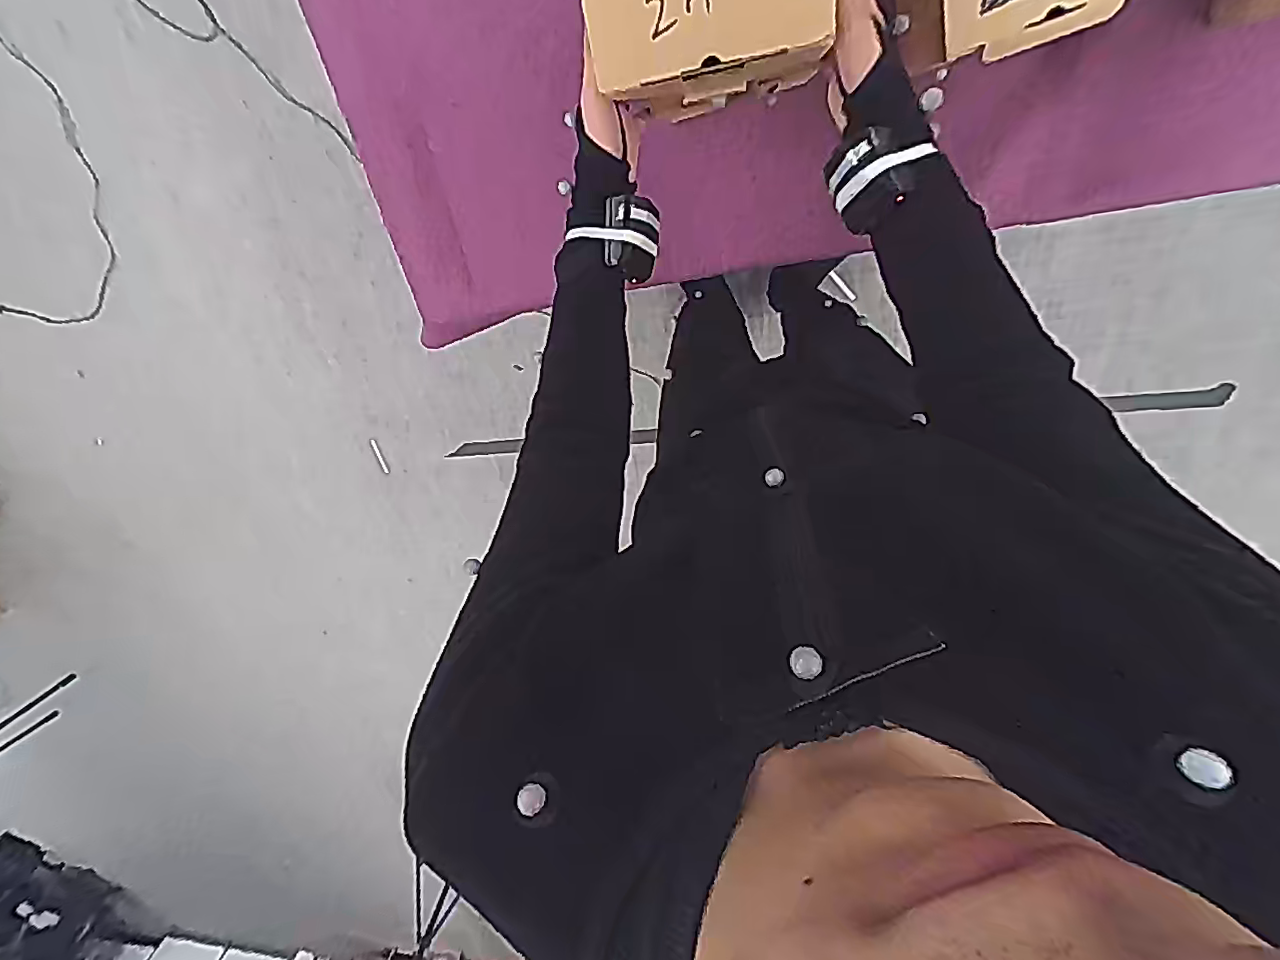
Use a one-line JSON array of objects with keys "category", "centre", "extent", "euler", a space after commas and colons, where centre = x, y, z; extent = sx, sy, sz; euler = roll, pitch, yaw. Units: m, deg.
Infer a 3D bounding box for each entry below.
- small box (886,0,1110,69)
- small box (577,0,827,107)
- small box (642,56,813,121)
[{"category": "small box", "centre": [0.323, -0.497, 0.480], "extent": [0.168, 0.176, 0.179], "euler": [-11, 118, 18]}, {"category": "small box", "centre": [0.044, -0.401, 0.401], "extent": [0.168, 0.176, 0.179], "euler": [-3, 120, 14]}, {"category": "small box", "centre": [0.078, -0.482, 0.541], "extent": [0.168, 0.176, 0.179], "euler": [-7, 120, 15]}]
